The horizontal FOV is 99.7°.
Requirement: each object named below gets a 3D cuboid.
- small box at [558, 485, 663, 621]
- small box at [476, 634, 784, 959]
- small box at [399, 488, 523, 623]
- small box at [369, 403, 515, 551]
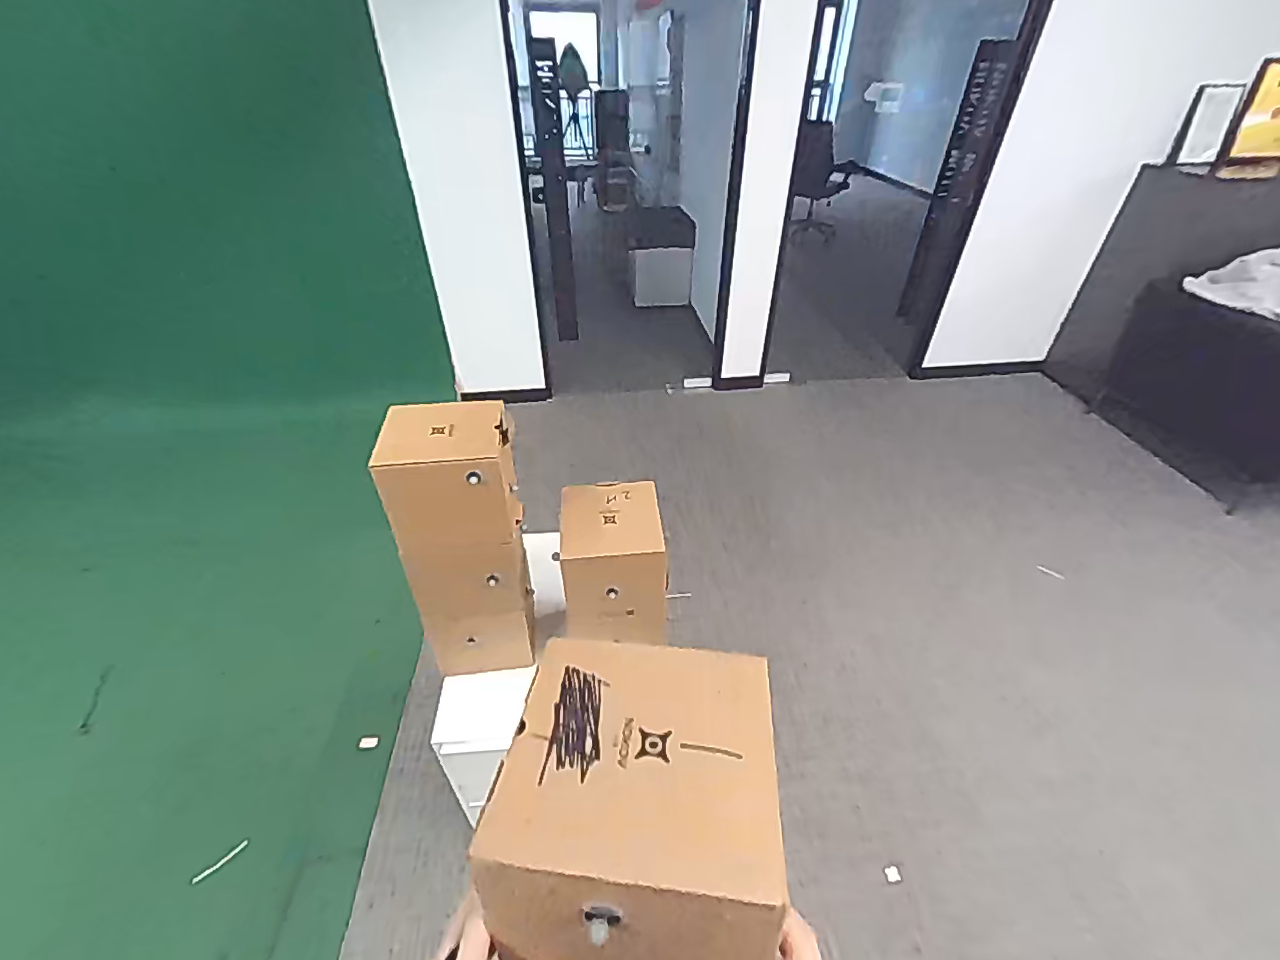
[{"bbox_3d":[-0.050,0.131,0.941,0.168,0.176,0.179,-3,39,-4],"label":"small box"},{"bbox_3d":[0.003,0.241,0.402,0.179,0.176,0.168,4,30,7],"label":"small box"},{"bbox_3d":[-0.299,0.127,0.945,0.179,0.176,0.168,-6,38,-9],"label":"small box"},{"bbox_3d":[-0.295,-0.004,0.848,0.179,0.176,0.168,-4,38,-9],"label":"small box"}]
